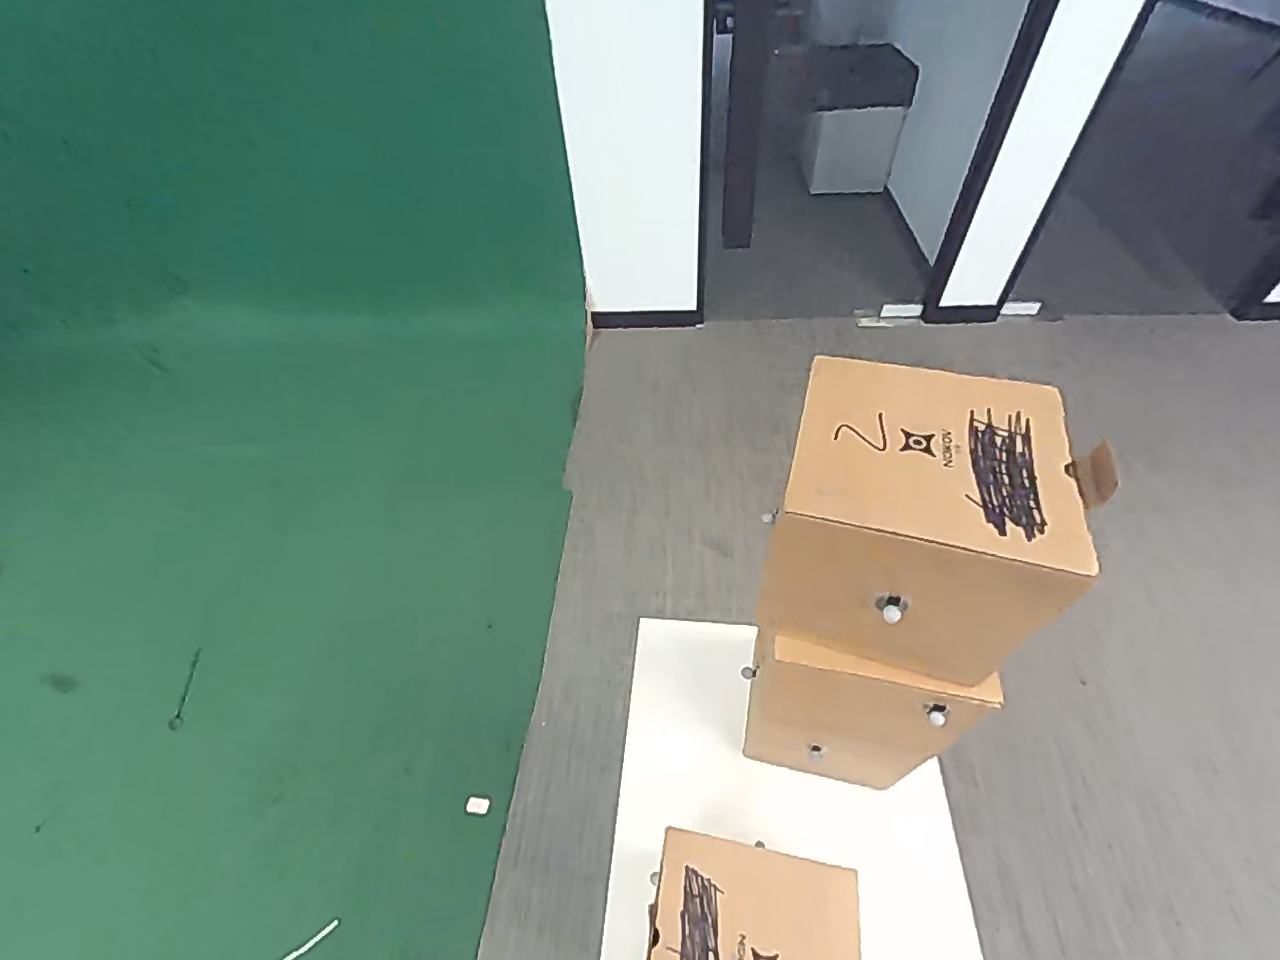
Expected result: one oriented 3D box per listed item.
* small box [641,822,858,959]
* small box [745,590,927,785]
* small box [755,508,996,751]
[{"bbox_3d":[0.095,0.449,0.506,0.179,0.176,0.168,8,50,10],"label":"small box"},{"bbox_3d":[0.228,0.255,0.666,0.179,0.176,0.168,8,51,12],"label":"small box"},{"bbox_3d":[0.214,0.151,0.541,0.179,0.176,0.168,8,50,11],"label":"small box"}]
